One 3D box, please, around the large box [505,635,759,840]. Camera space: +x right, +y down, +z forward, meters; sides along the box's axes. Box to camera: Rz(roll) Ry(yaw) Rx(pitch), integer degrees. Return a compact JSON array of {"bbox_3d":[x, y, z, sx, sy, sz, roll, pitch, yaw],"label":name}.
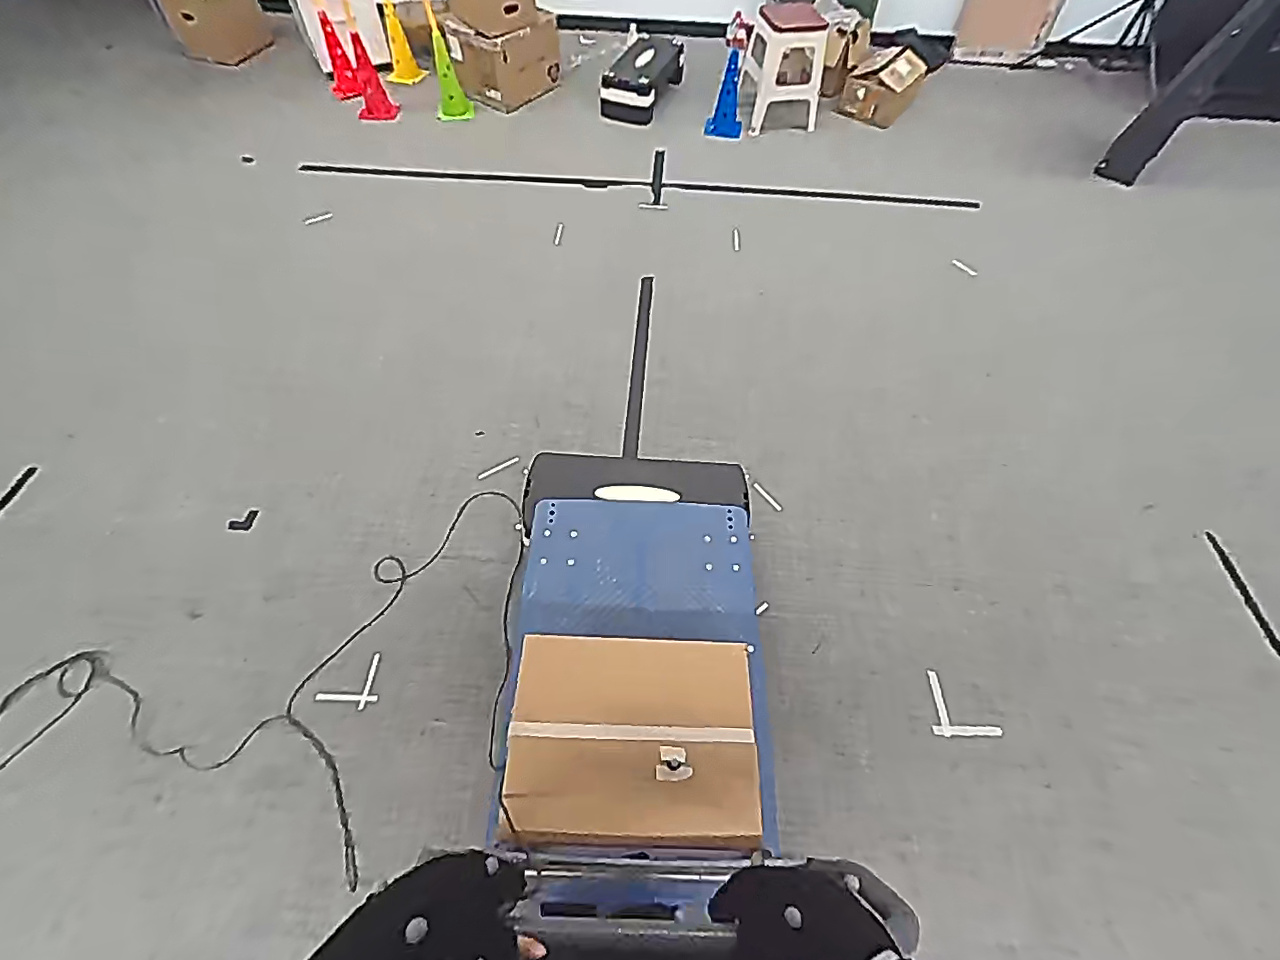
[{"bbox_3d":[-0.019,0.504,1.039,0.408,0.320,0.320,3,57,-2],"label":"large box"}]
